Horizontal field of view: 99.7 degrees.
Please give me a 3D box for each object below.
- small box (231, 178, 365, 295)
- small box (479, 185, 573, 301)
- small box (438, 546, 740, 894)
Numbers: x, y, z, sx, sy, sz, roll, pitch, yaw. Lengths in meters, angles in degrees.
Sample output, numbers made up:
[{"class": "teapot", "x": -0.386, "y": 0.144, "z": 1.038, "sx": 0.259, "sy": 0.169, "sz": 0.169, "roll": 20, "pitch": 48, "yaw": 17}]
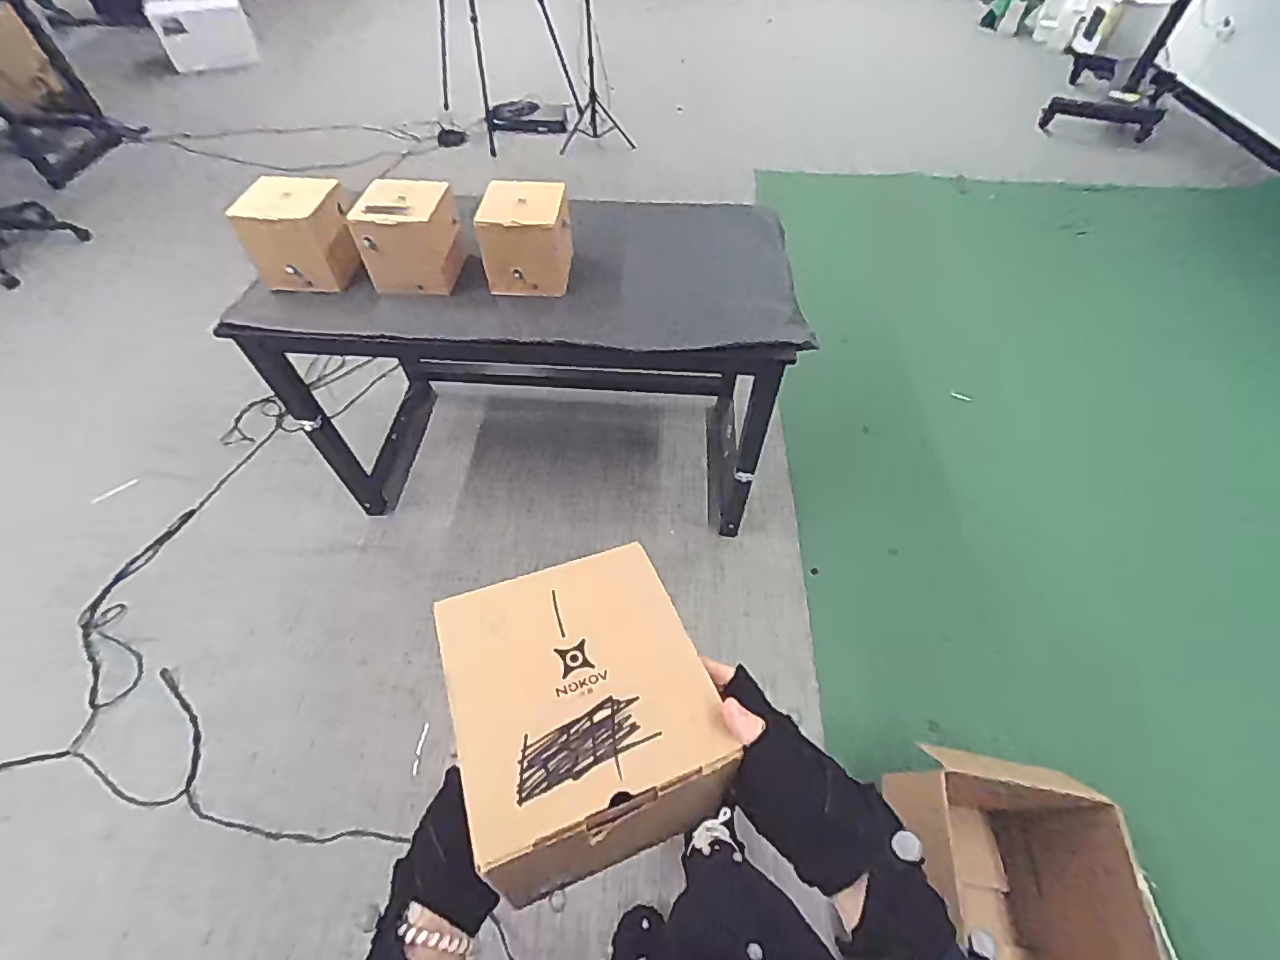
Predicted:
[{"class": "small box", "x": -0.728, "y": -0.531, "z": 1.181, "sx": 0.168, "sy": 0.176, "sz": 0.179, "roll": 3, "pitch": 52, "yaw": 0}, {"class": "small box", "x": -0.240, "y": -0.521, "z": 1.190, "sx": 0.168, "sy": 0.176, "sz": 0.179, "roll": 3, "pitch": 54, "yaw": 1}, {"class": "small box", "x": -0.046, "y": 0.186, "z": 0.420, "sx": 0.168, "sy": 0.176, "sz": 0.179, "roll": -14, "pitch": 47, "yaw": -18}]
